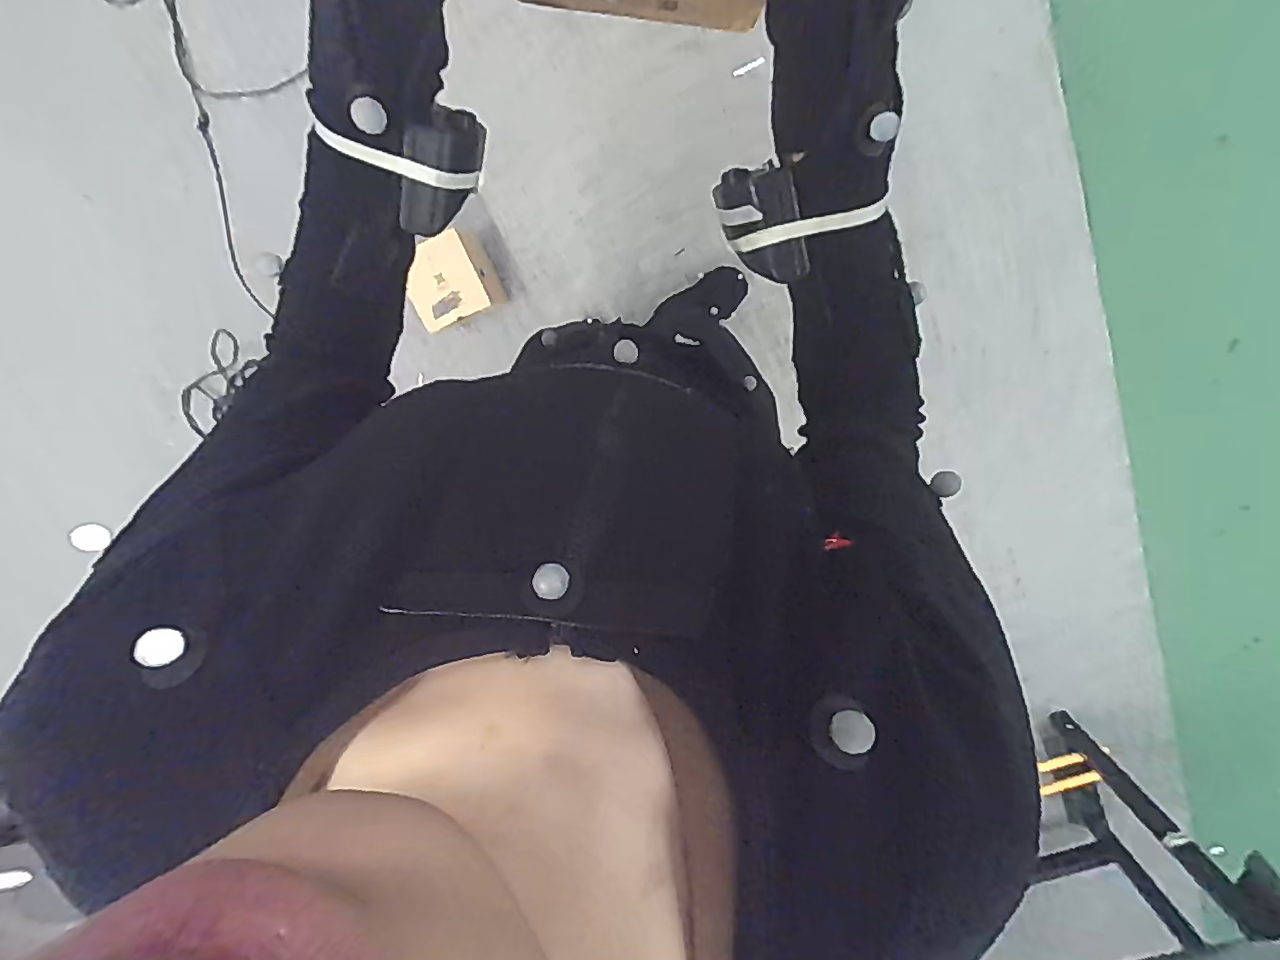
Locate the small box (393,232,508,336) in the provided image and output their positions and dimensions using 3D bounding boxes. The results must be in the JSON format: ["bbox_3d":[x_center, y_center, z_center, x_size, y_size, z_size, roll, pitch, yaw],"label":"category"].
[{"bbox_3d":[-0.434,-0.461,1.272,0.168,0.176,0.179,-22,108,8],"label":"small box"}]
